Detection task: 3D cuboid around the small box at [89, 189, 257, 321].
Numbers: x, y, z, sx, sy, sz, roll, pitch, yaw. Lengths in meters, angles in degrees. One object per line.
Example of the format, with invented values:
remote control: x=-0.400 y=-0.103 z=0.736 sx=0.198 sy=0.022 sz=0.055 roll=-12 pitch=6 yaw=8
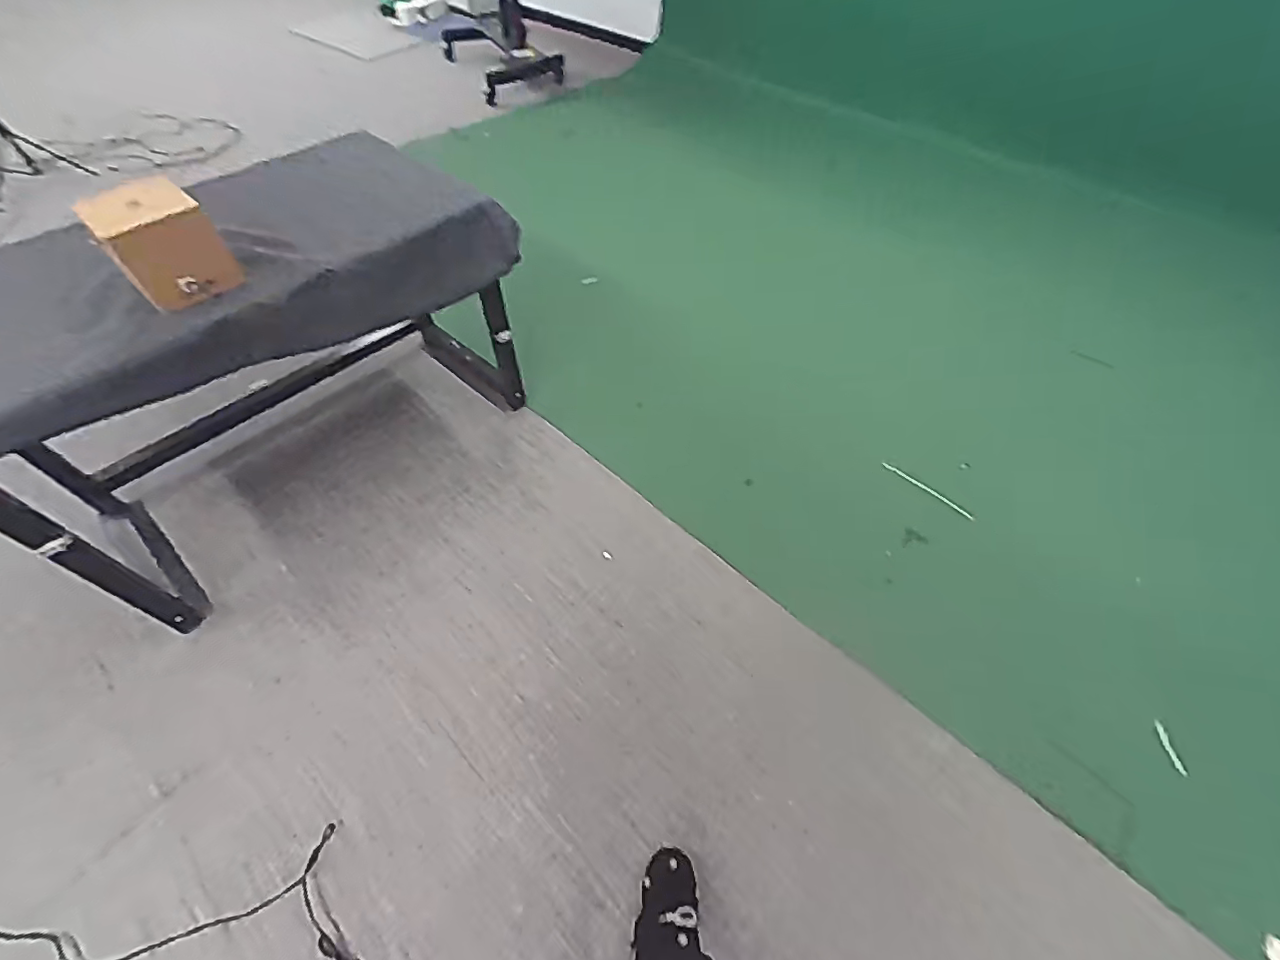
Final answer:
small box: x=-0.934 y=-0.452 z=1.095 sx=0.179 sy=0.176 sz=0.168 roll=35 pitch=61 yaw=23
